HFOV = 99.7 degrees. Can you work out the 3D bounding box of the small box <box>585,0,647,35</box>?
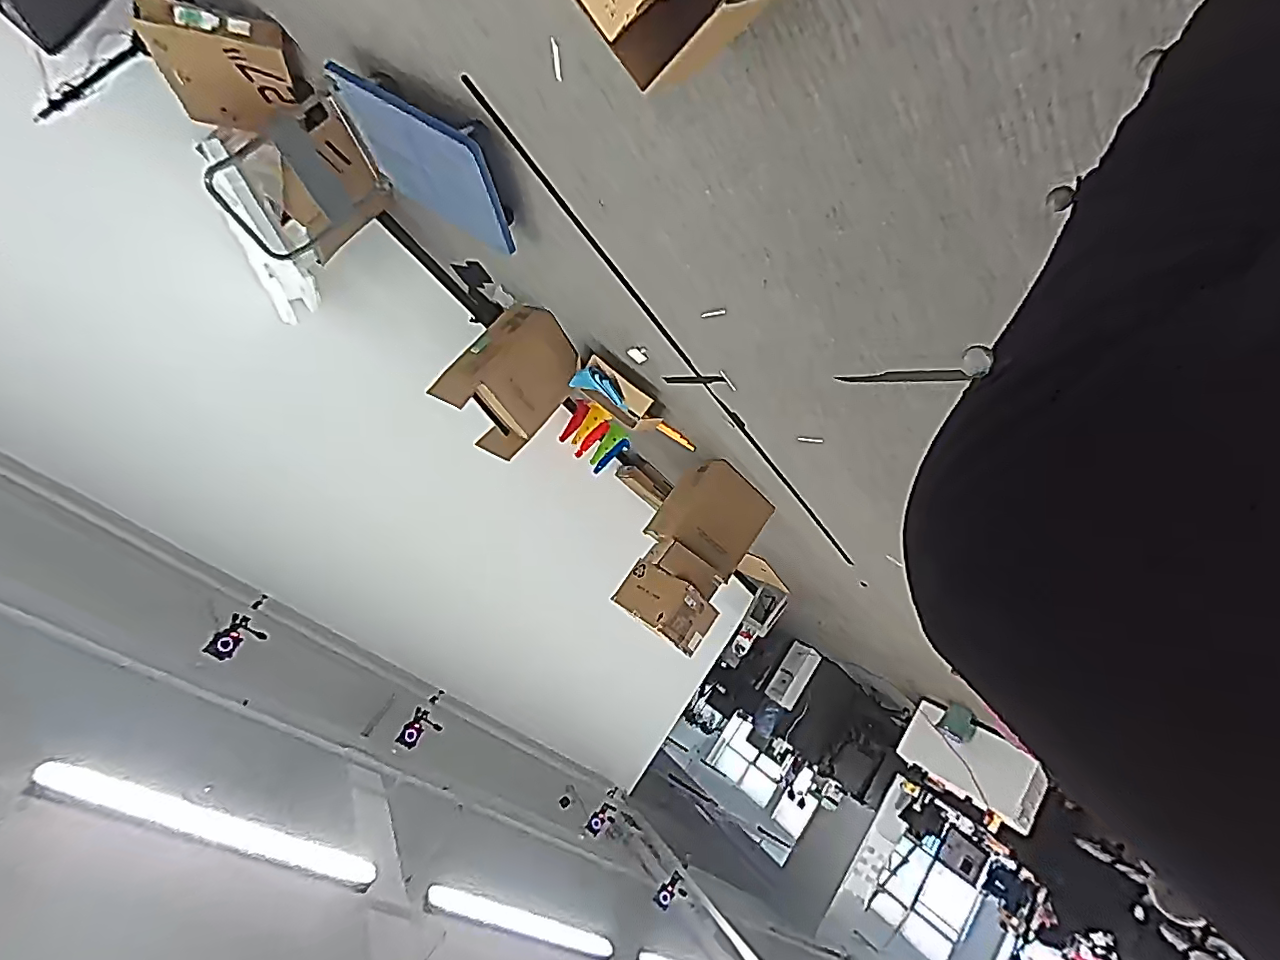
[{"bbox_3d":[-0.027,-1.011,1.013,0.179,0.176,0.168,43,166,-27],"label":"small box"}]
